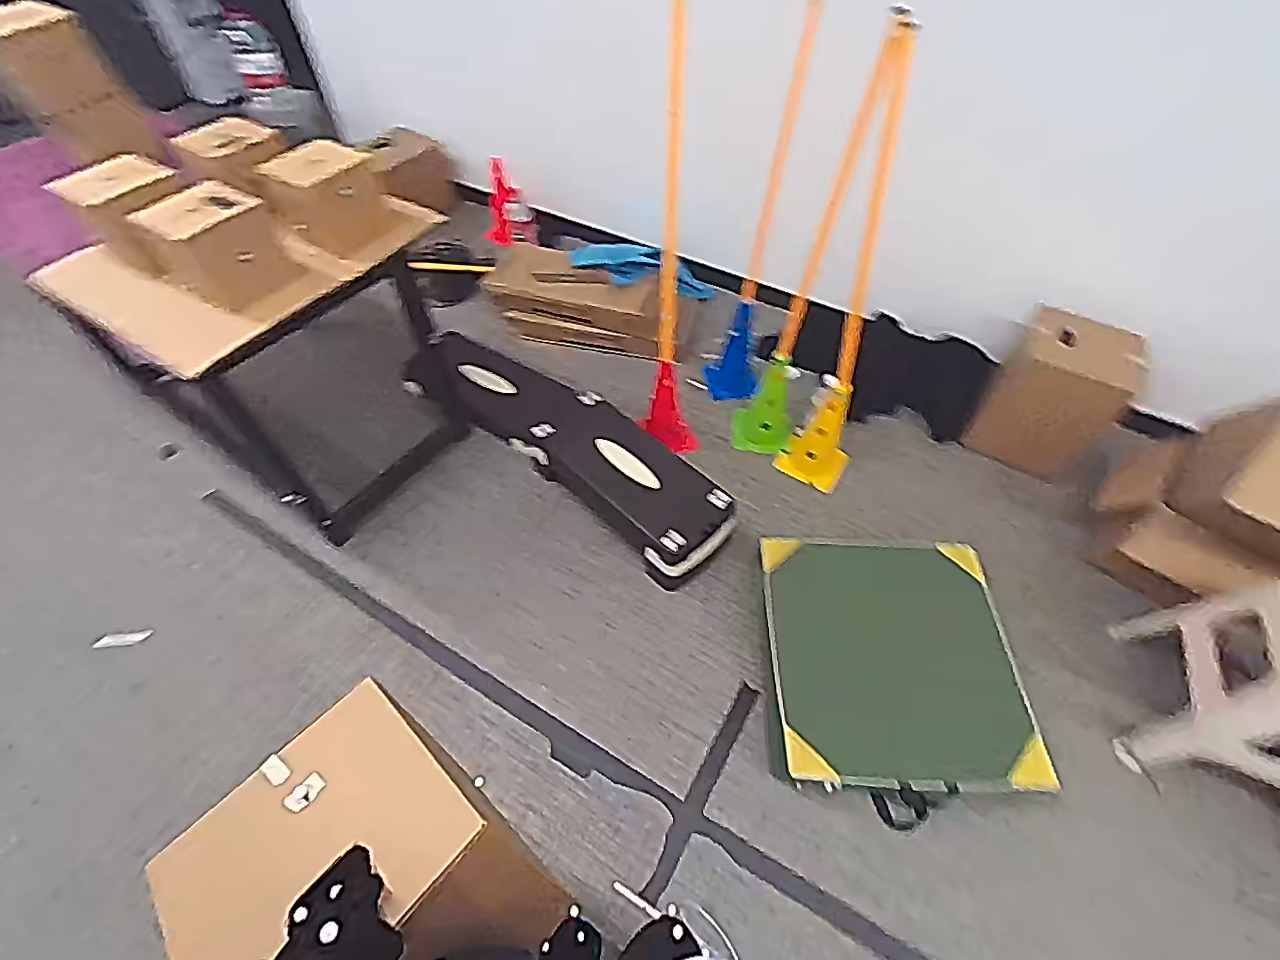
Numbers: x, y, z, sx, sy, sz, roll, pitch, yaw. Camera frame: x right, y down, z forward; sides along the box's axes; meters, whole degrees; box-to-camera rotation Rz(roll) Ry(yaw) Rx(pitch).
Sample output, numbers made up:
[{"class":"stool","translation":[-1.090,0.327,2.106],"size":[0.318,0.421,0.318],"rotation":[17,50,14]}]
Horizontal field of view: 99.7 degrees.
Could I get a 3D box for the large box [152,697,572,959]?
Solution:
[{"class":"large box","translation":[-0.355,0.594,0.773],"size":[0.320,0.408,0.320],"rotation":[27,55,35]}]
